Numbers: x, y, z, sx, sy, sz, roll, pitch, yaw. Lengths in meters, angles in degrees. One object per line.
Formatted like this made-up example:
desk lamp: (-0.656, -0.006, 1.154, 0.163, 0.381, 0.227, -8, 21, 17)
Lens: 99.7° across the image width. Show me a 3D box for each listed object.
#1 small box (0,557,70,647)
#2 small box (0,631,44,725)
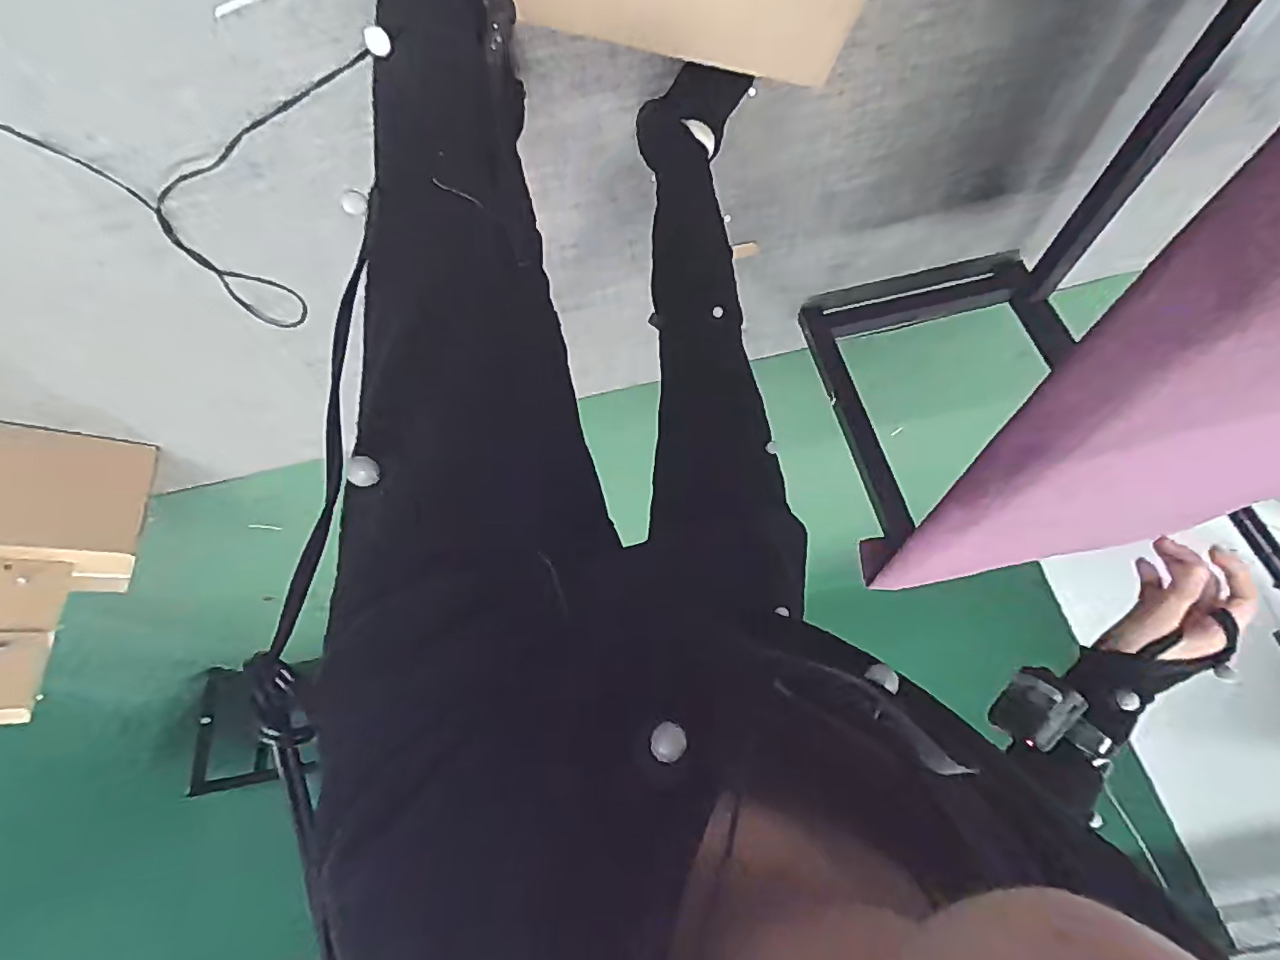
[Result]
small box: (-1.438, 0.284, 1.227, 0.179, 0.176, 0.168, -32, 147, 35)
small box: (-1.409, 0.424, 1.148, 0.168, 0.176, 0.179, 14, 144, -42)
